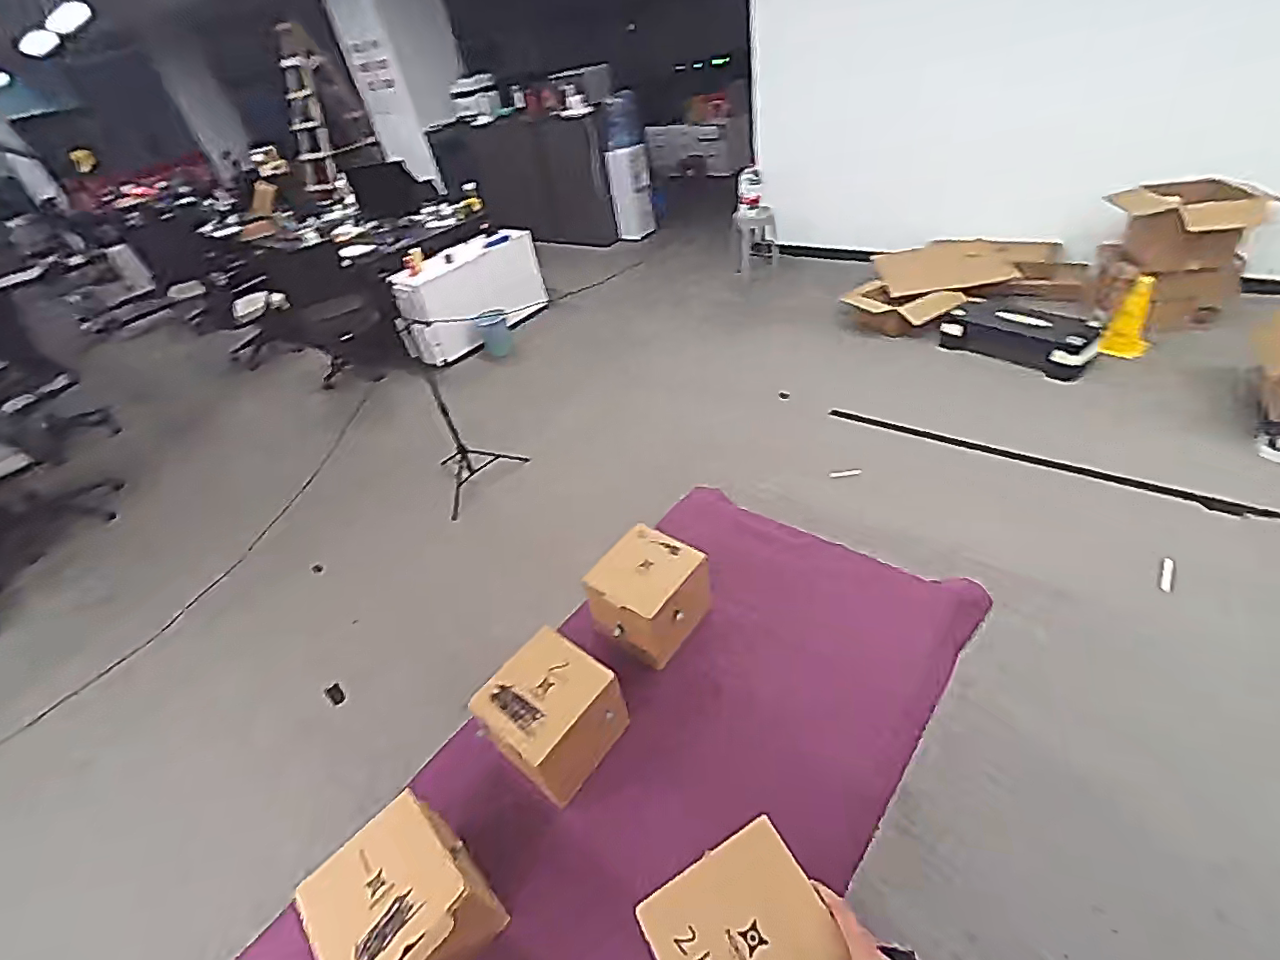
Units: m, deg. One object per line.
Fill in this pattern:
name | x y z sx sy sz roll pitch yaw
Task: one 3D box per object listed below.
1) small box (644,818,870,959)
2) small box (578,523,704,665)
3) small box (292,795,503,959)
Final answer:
small box | 0.128 0.514 0.581 0.179 0.176 0.168 -27 40 -13
small box | 0.012 0.221 1.047 0.168 0.176 0.179 24 53 32
small box | -0.311 0.573 0.719 0.179 0.176 0.168 27 53 37
